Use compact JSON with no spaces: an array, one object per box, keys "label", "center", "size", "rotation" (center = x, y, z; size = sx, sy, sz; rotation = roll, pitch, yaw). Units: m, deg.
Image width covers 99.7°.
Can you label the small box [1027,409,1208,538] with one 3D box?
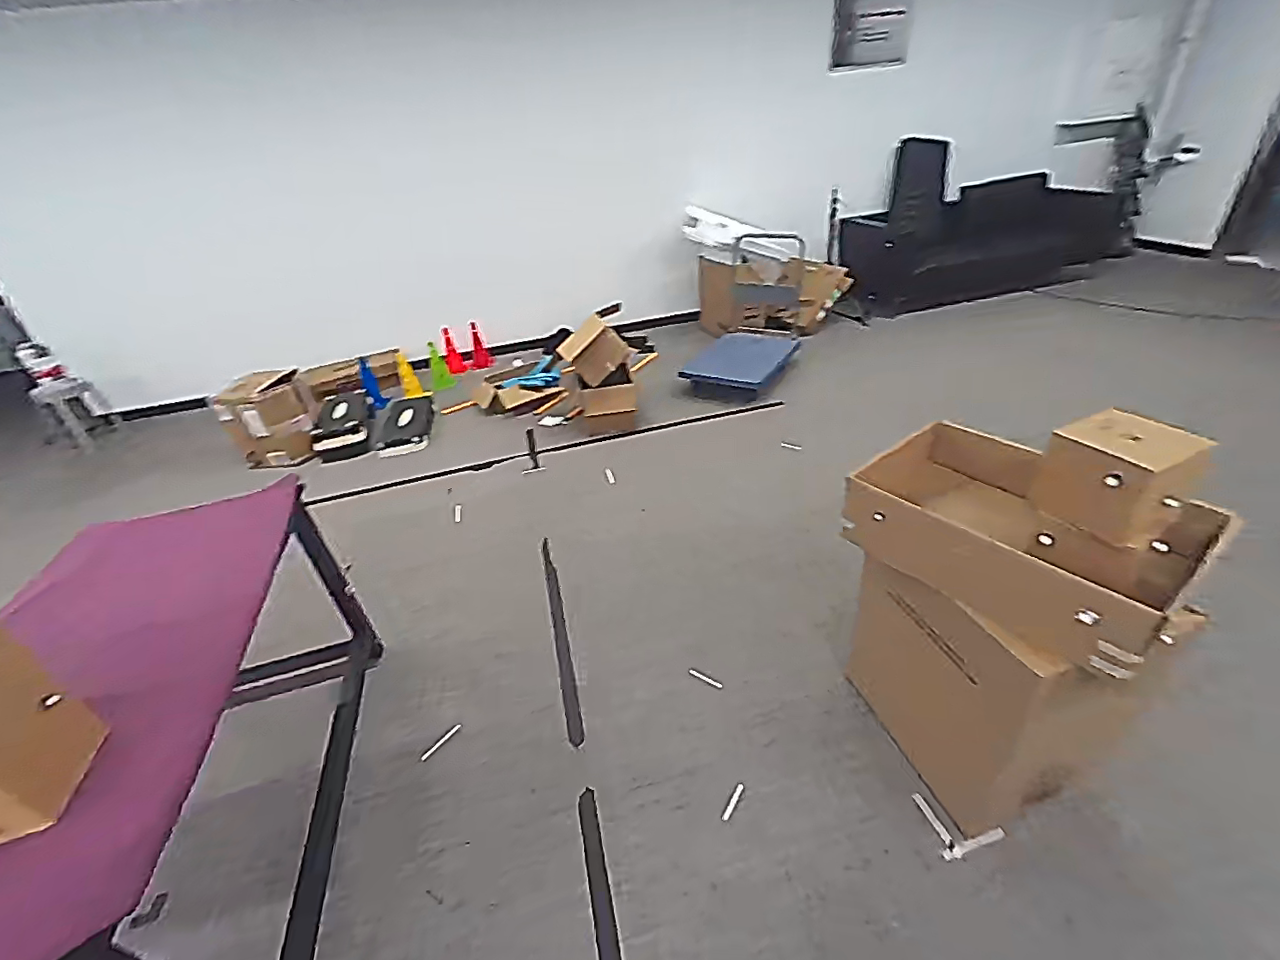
[{"label":"small box","center":[0.885,-0.009,1.021],"size":[0.168,0.176,0.179],"rotation":[-18,33,-16]}]

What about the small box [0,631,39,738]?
[{"label":"small box","center":[-1.021,0.311,0.753],"size":[0.168,0.176,0.179],"rotation":[-15,34,-12]}]

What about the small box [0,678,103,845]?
[{"label":"small box","center":[-1.008,0.451,0.839],"size":[0.168,0.176,0.179],"rotation":[-15,33,-12]}]
